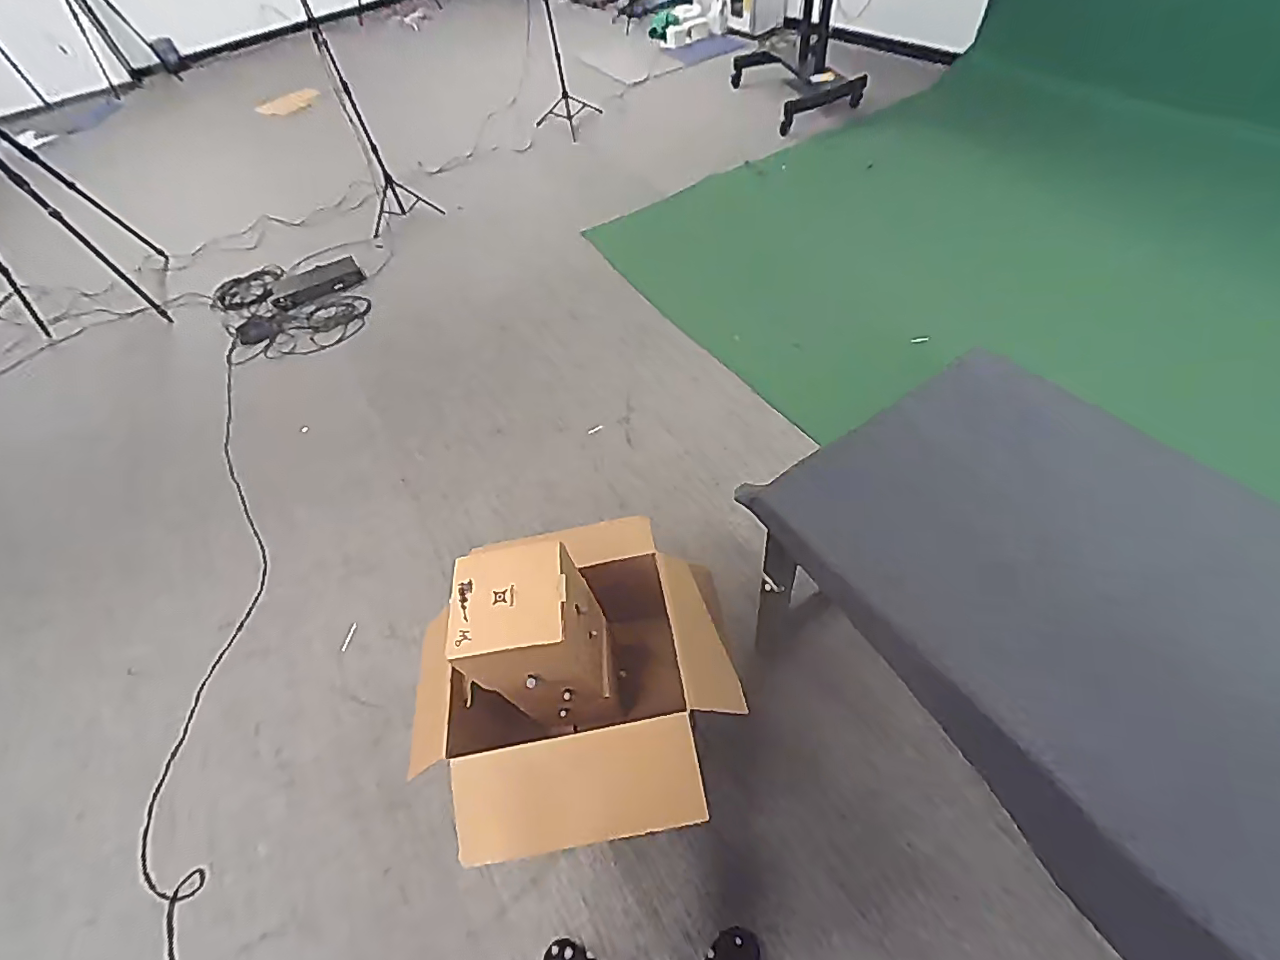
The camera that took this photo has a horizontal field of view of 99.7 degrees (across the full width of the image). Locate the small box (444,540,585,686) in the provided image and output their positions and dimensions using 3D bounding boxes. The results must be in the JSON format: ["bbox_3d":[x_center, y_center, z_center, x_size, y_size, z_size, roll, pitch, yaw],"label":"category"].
[{"bbox_3d":[-0.187,0.217,0.865,0.179,0.176,0.168,-9,53,3],"label":"small box"}]
